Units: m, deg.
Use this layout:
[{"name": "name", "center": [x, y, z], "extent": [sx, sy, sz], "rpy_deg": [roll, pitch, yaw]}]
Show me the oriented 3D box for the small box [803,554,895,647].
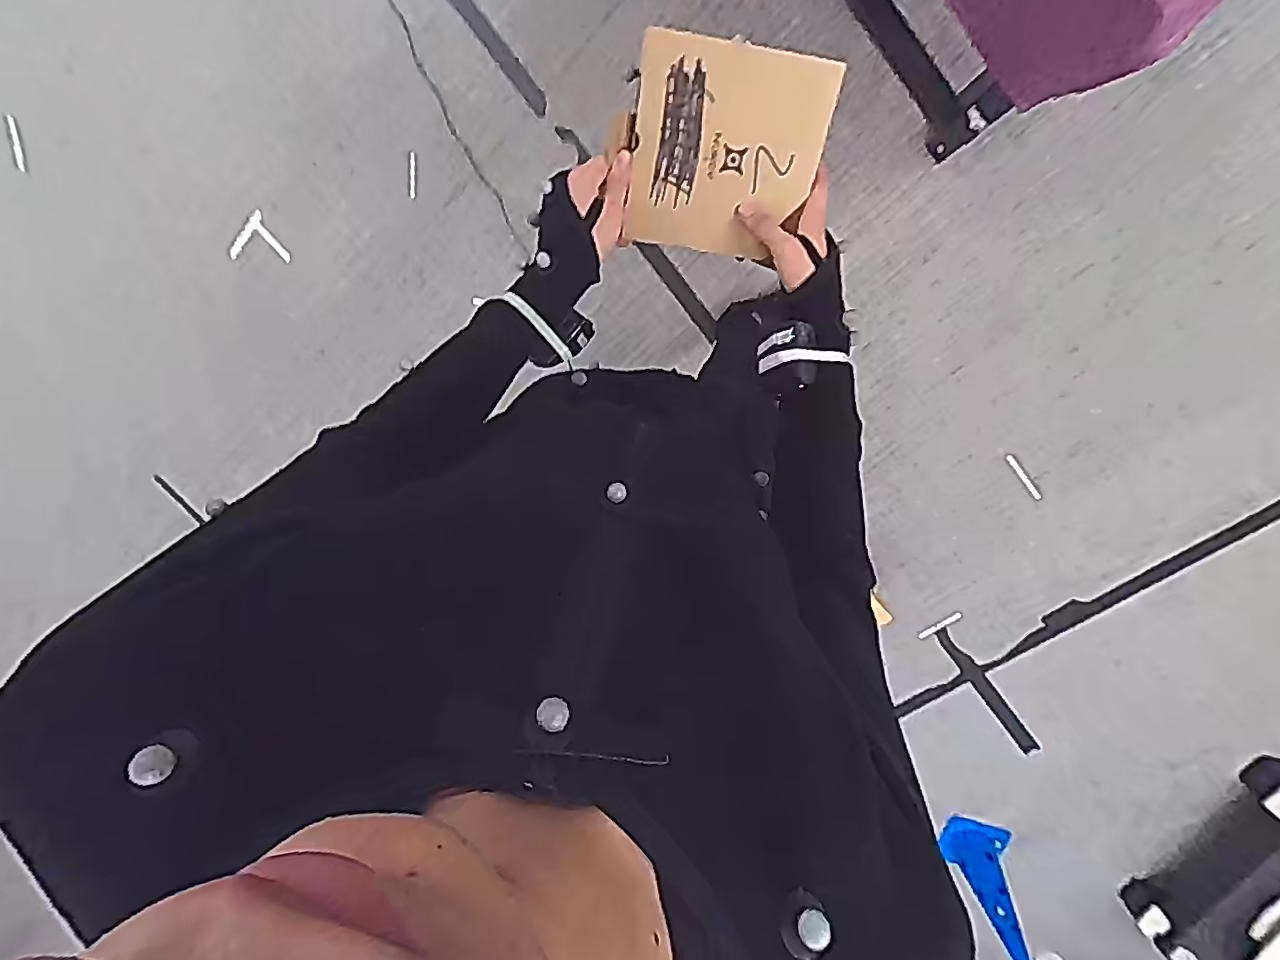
[{"name": "small box", "center": [0.591, 0.335, 1.557], "extent": [0.168, 0.176, 0.179], "rpy_deg": [-42, 96, 19]}]
